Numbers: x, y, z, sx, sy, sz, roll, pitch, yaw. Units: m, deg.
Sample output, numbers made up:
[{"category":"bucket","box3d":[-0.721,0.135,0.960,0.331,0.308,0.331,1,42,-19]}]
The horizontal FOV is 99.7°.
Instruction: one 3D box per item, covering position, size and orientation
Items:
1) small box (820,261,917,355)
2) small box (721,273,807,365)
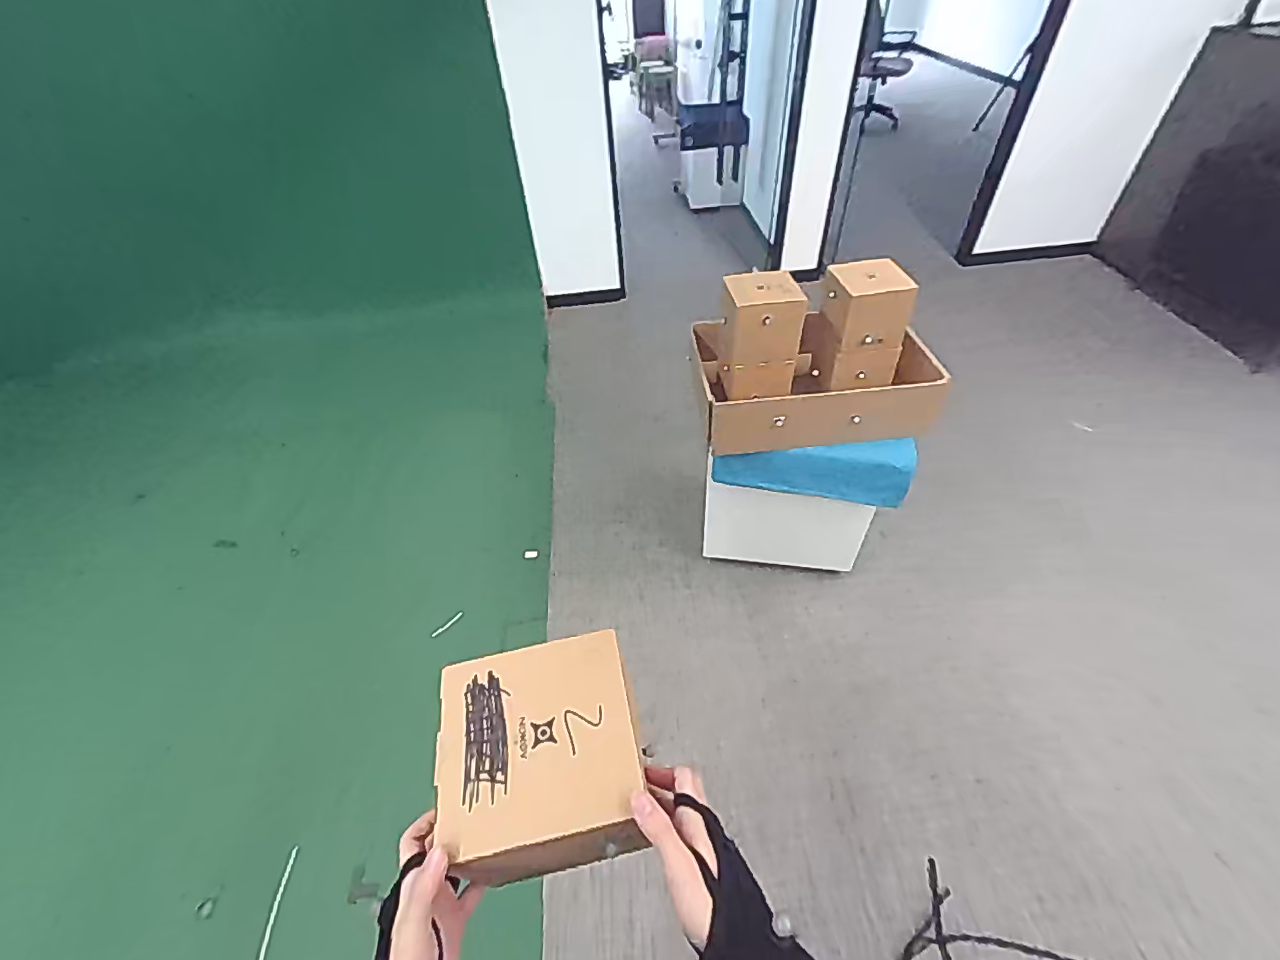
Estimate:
[{"category":"small box","box3d":[0.584,-0.448,1.411,0.168,0.176,0.179,-8,45,-1]},{"category":"small box","box3d":[0.310,-0.413,1.396,0.179,0.176,0.168,-6,46,-3]}]
